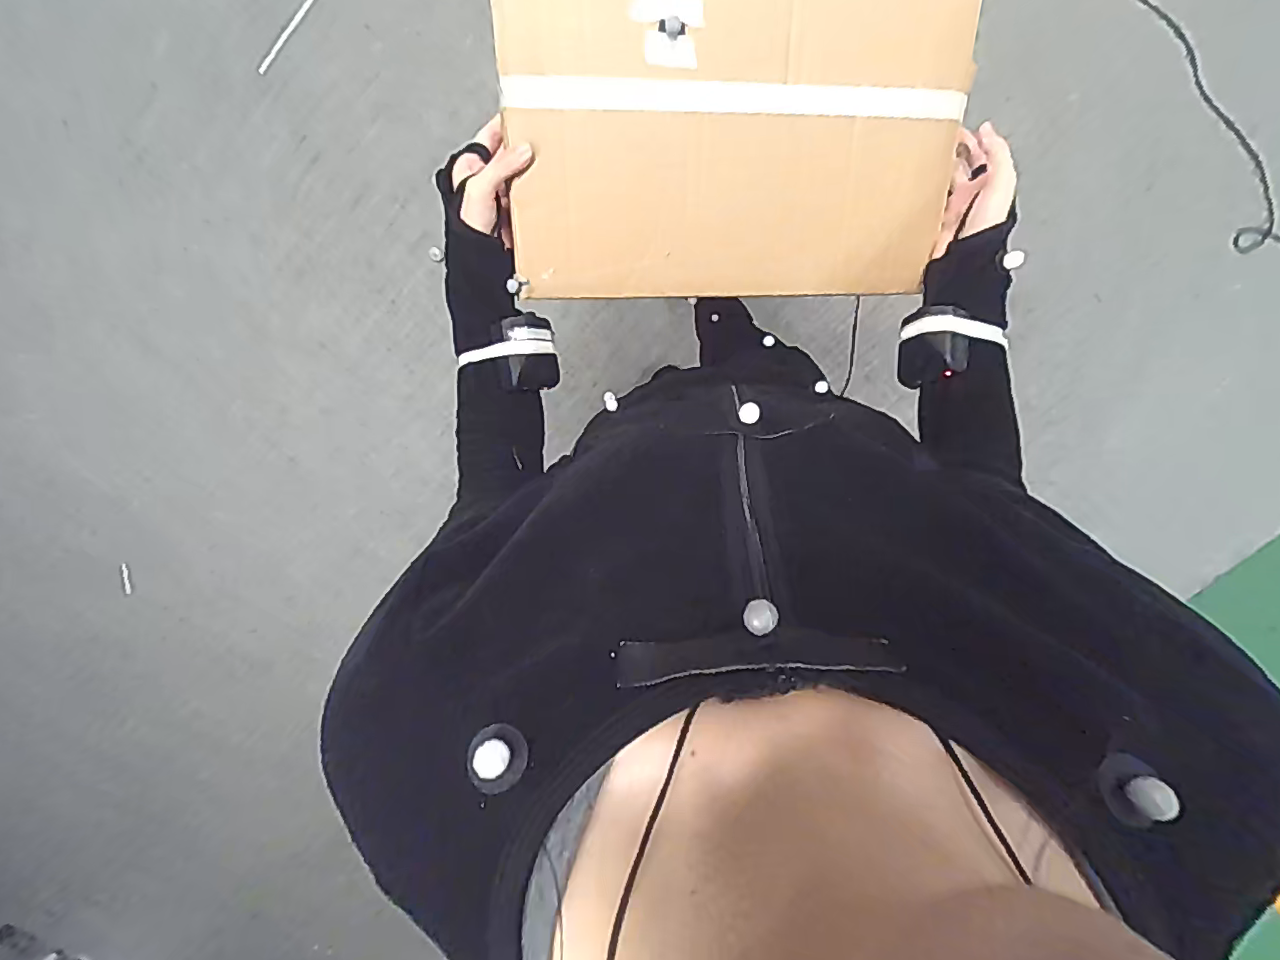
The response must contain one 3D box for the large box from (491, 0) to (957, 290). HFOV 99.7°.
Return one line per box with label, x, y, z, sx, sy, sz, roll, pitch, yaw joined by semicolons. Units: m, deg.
large box;0.061;-0.392;0.610;0.408;0.320;0.320;-3;112;-7
